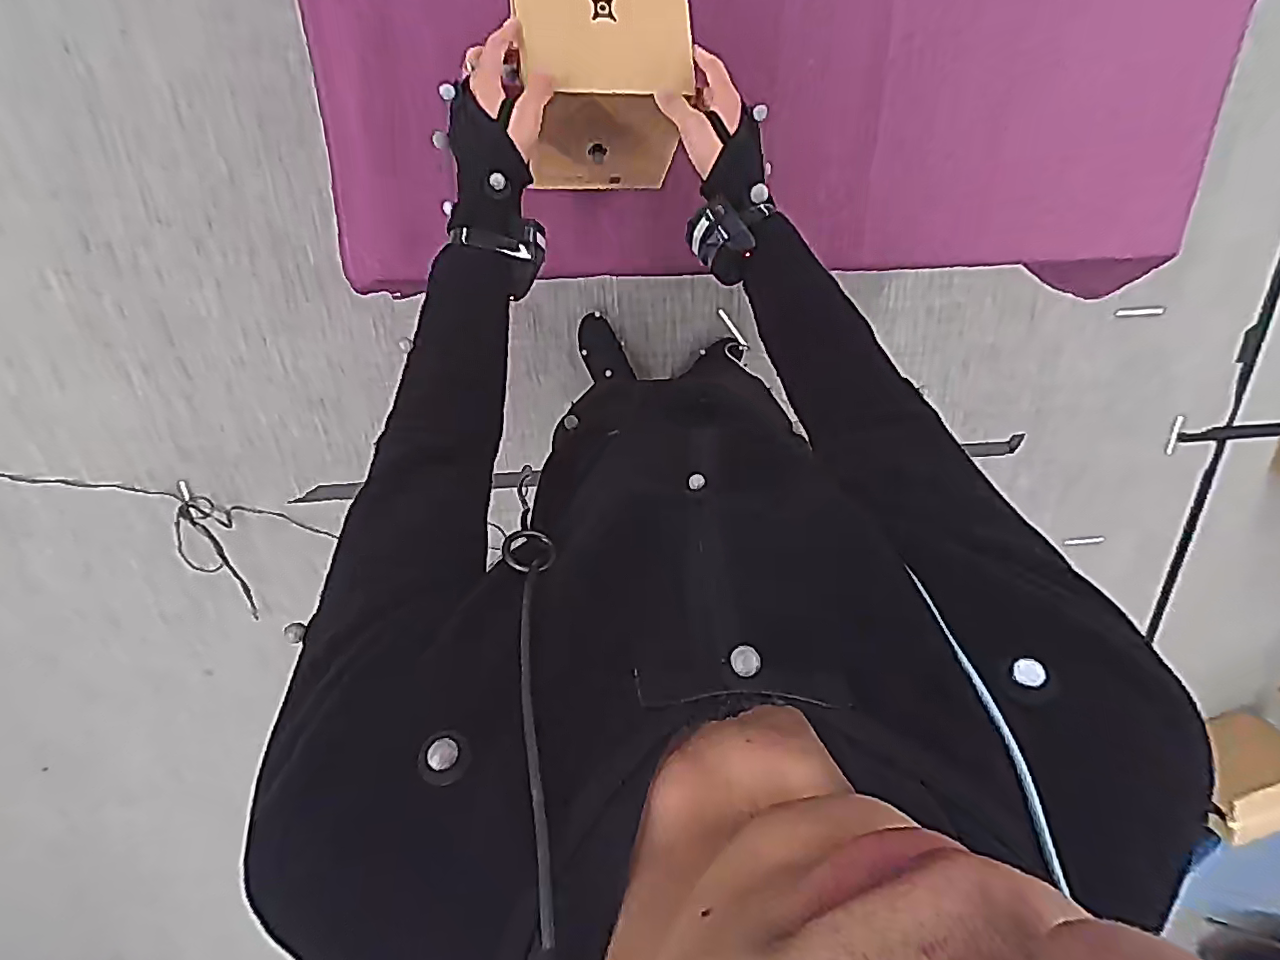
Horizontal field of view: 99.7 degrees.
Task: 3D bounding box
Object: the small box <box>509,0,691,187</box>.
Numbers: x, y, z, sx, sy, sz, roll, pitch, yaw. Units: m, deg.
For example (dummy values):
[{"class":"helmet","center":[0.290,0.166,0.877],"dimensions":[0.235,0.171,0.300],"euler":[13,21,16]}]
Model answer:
[{"class":"small box","center":[-0.050,-0.438,0.575],"dimensions":[0.168,0.176,0.179],"euler":[-5,89,-10]}]
